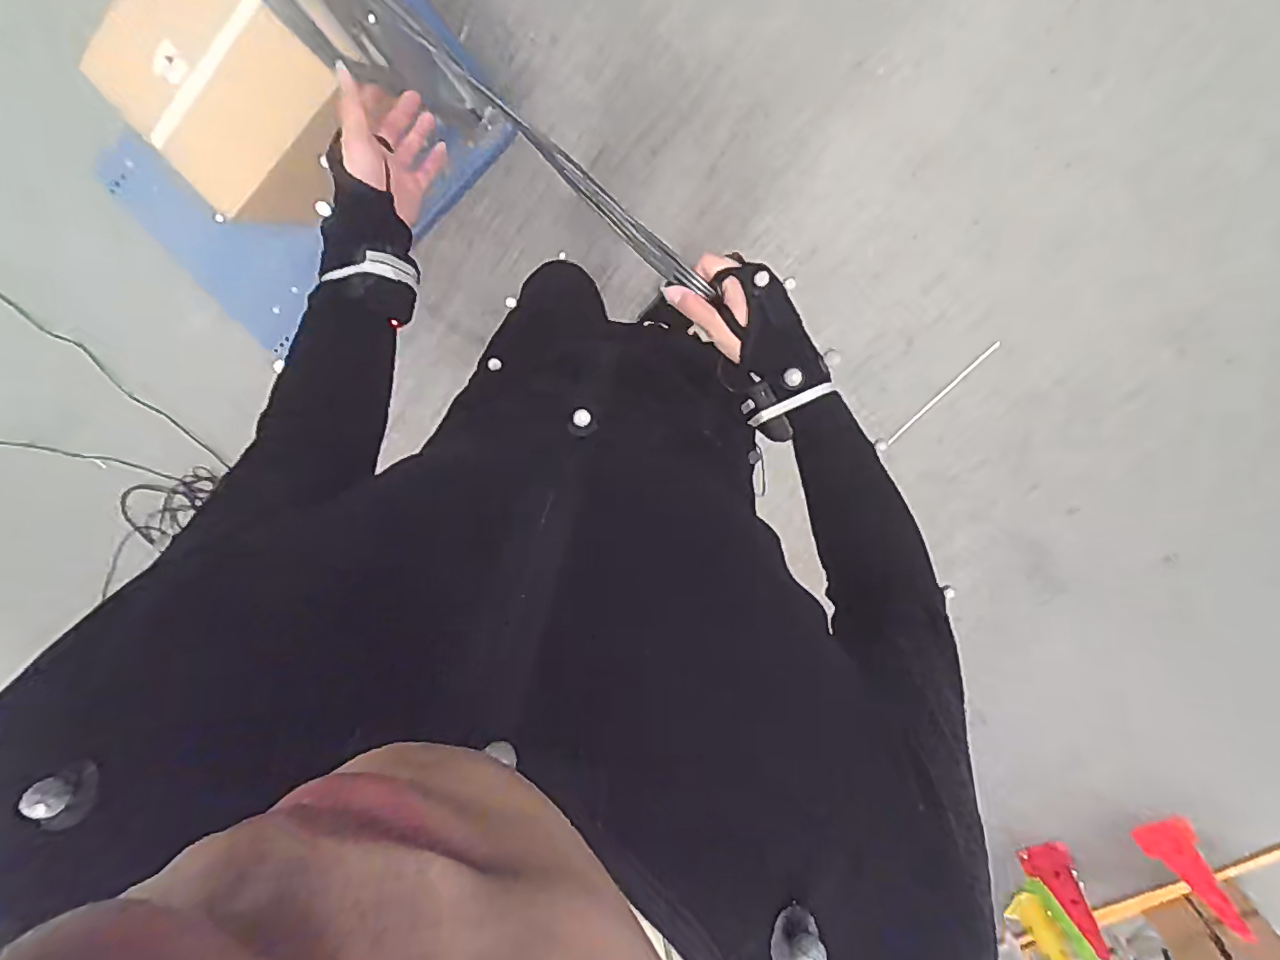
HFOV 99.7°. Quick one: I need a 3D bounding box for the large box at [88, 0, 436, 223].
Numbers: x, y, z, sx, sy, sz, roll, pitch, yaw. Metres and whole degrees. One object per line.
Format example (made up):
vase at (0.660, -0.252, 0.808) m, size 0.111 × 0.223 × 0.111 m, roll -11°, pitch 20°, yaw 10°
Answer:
large box at (-0.683, -0.760, 1.035) m, size 0.408 × 0.320 × 0.320 m, roll -34°, pitch 108°, yaw 18°
